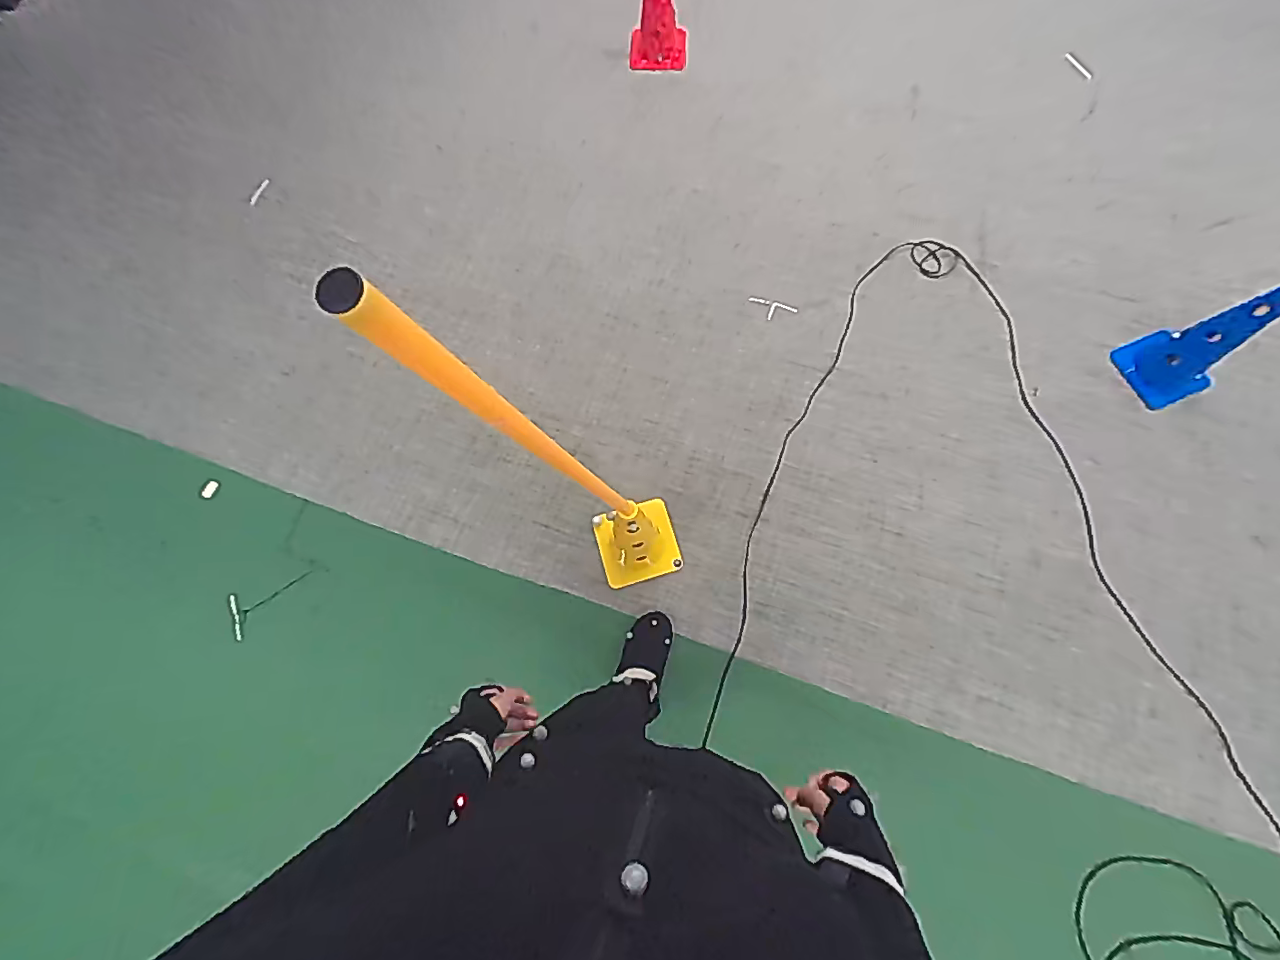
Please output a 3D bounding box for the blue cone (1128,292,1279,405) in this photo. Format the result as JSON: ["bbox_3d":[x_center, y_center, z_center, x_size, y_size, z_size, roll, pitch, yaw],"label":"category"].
[{"bbox_3d":[1.431,-0.362,1.298,0.193,0.380,0.192,-24,73,-6],"label":"blue cone"}]
